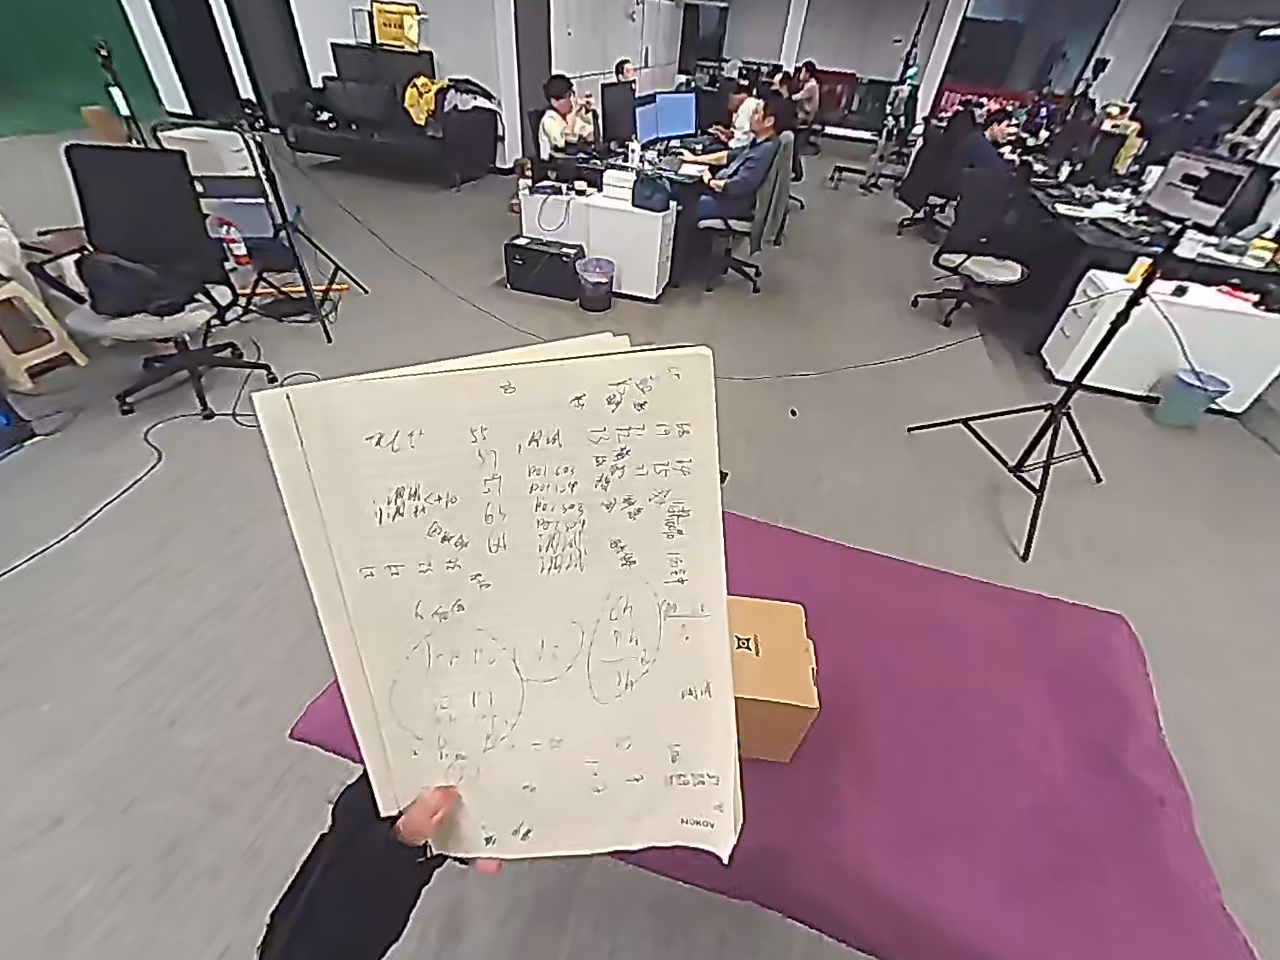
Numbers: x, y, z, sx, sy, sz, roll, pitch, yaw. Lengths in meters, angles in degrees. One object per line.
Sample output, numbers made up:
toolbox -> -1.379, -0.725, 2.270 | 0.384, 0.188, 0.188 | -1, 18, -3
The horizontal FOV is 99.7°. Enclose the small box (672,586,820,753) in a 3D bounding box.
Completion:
small box -> 0.149, 0.285, 0.810 | 0.179, 0.176, 0.168 | 7, 39, 2
